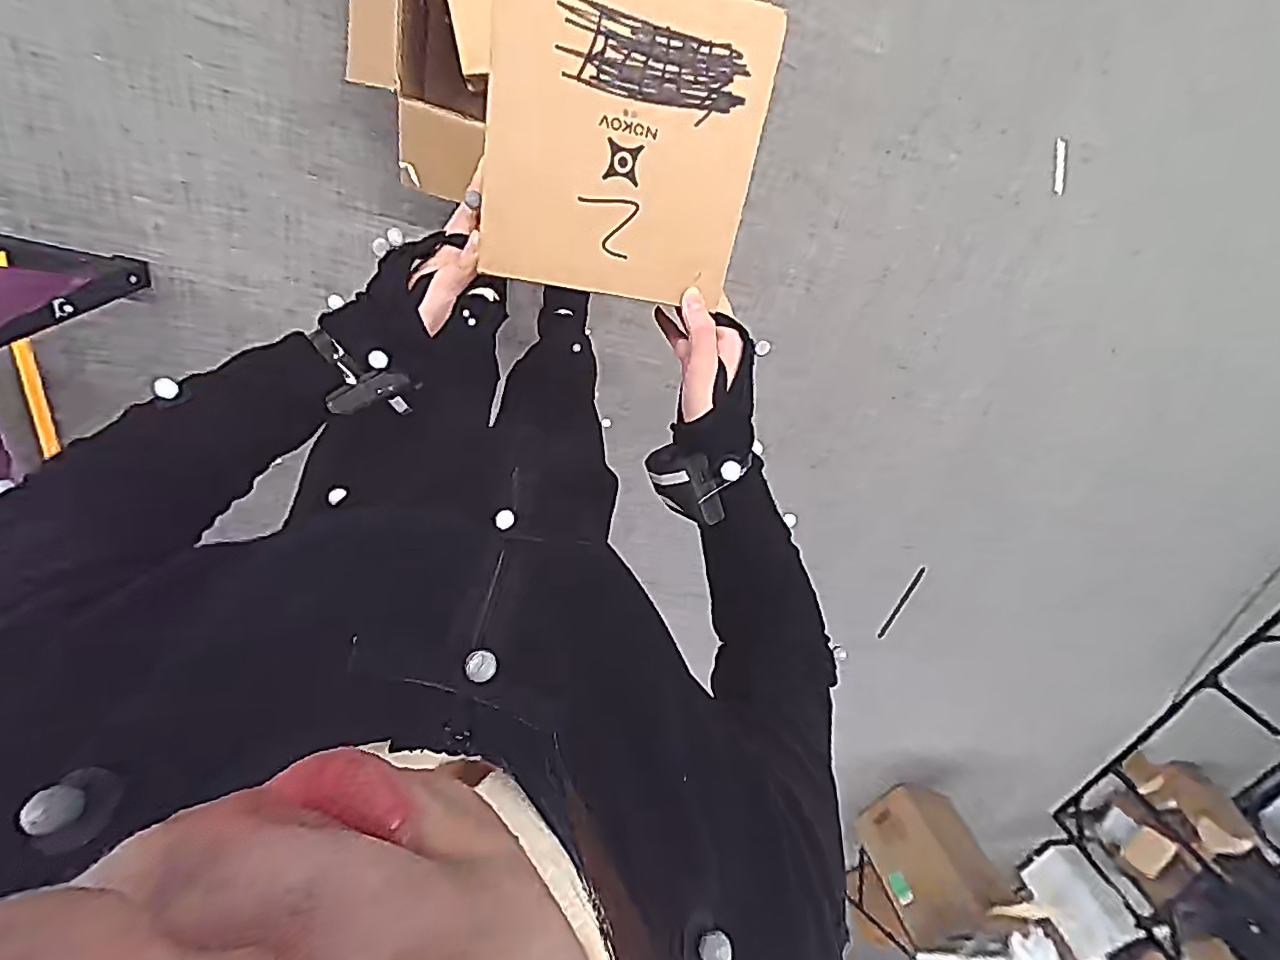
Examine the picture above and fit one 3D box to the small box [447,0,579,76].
[{"bbox_3d":[-0.198,-0.714,0.807,0.179,0.176,0.168,-12,126,-10],"label":"small box"}]
